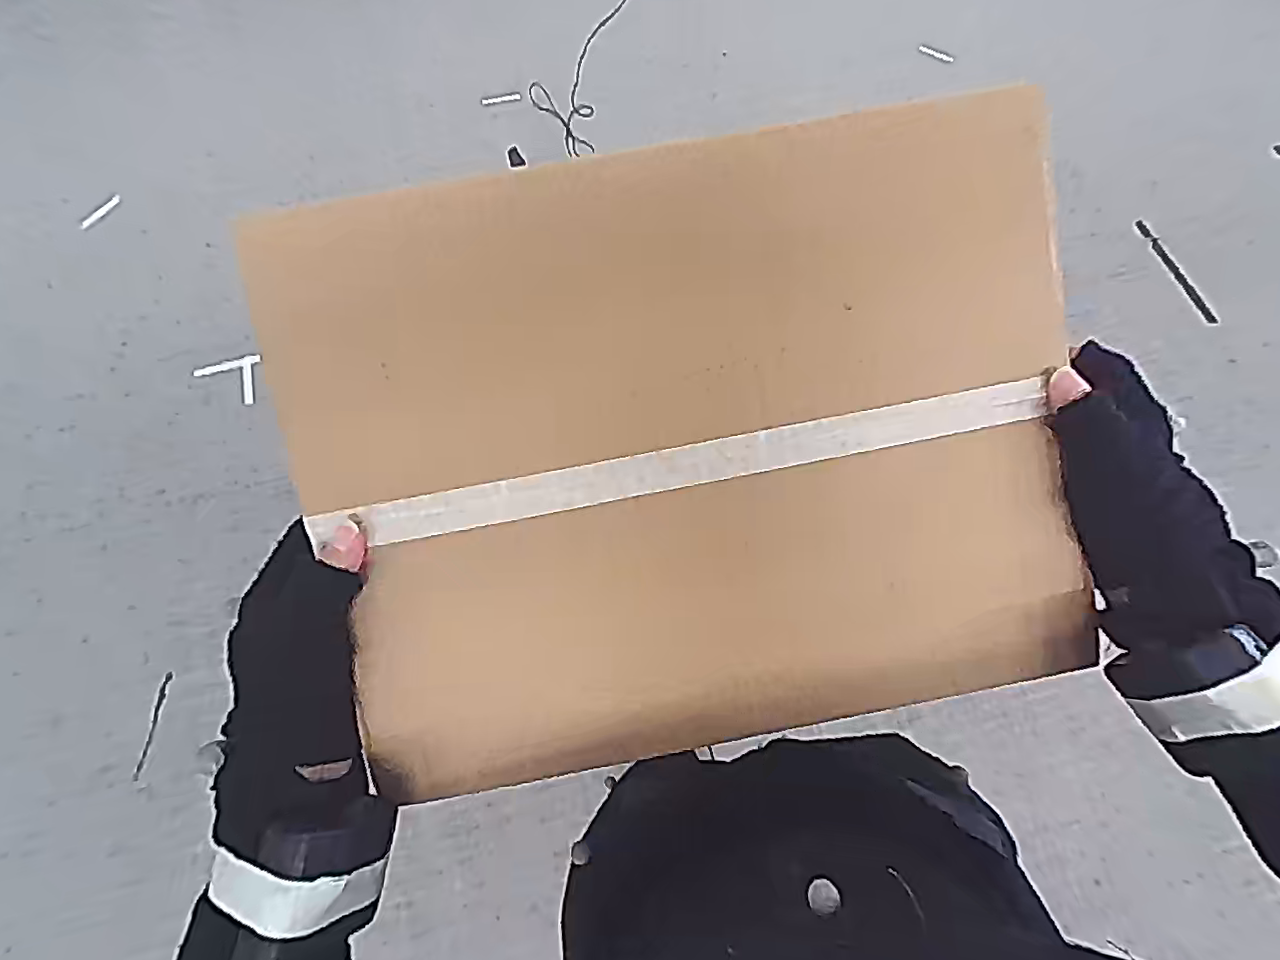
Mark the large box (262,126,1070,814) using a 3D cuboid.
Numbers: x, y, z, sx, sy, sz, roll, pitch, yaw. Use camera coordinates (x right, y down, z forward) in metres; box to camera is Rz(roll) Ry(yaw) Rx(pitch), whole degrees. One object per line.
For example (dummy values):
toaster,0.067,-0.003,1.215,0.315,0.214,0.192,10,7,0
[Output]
large box,0.026,-0.015,0.441,0.408,0.320,0.320,-11,96,-1
